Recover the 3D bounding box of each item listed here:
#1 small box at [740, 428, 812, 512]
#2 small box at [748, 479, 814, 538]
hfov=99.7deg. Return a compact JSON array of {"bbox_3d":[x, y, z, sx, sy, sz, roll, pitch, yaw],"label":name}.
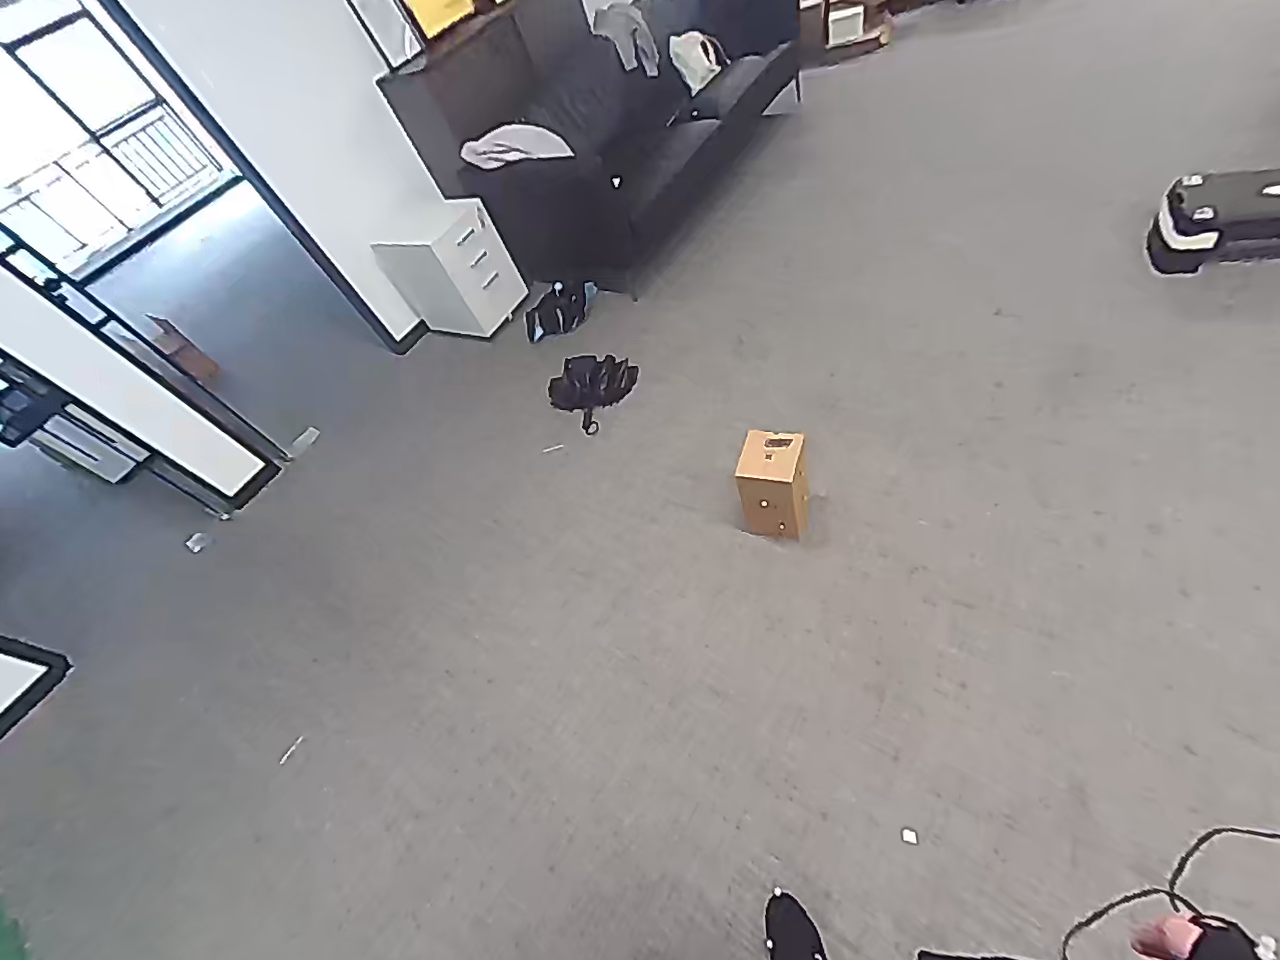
[{"bbox_3d":[0.409,-0.029,1.601,0.168,0.176,0.179,7,59,27],"label":"small box"},{"bbox_3d":[0.456,0.064,1.729,0.168,0.176,0.179,7,56,26],"label":"small box"}]
